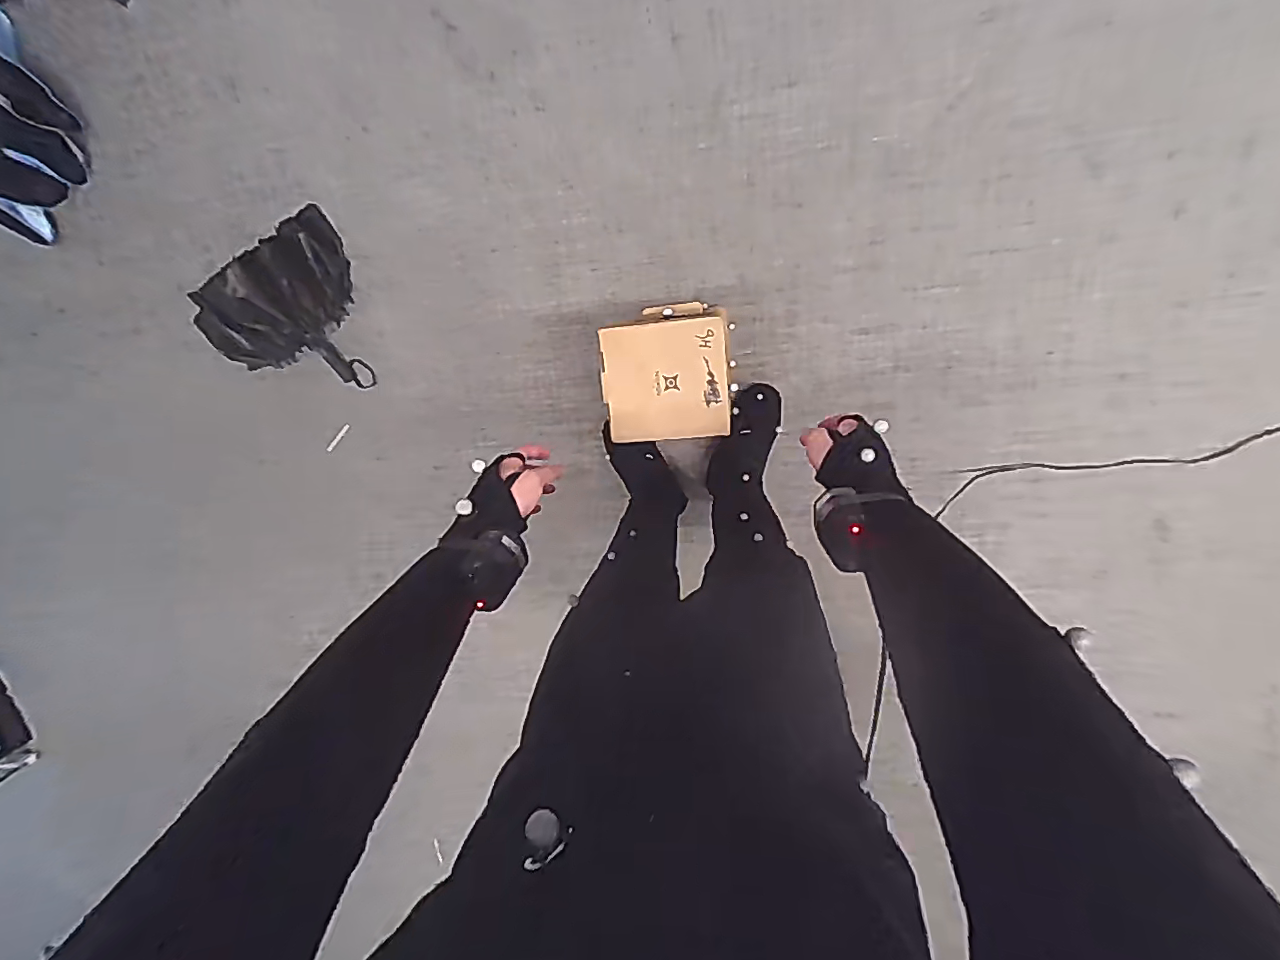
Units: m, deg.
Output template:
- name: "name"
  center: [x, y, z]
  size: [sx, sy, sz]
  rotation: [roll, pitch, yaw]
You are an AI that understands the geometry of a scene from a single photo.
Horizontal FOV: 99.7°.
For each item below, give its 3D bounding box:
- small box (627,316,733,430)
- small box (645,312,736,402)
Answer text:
- name: "small box"
  center: [0.079, -0.200, 0.992]
  size: [0.168, 0.176, 0.179]
  rotation: [-5, 107, 11]
- name: "small box"
  center: [0.110, -0.254, 1.144]
  size: [0.168, 0.176, 0.179]
  rotation: [-7, 107, 12]
